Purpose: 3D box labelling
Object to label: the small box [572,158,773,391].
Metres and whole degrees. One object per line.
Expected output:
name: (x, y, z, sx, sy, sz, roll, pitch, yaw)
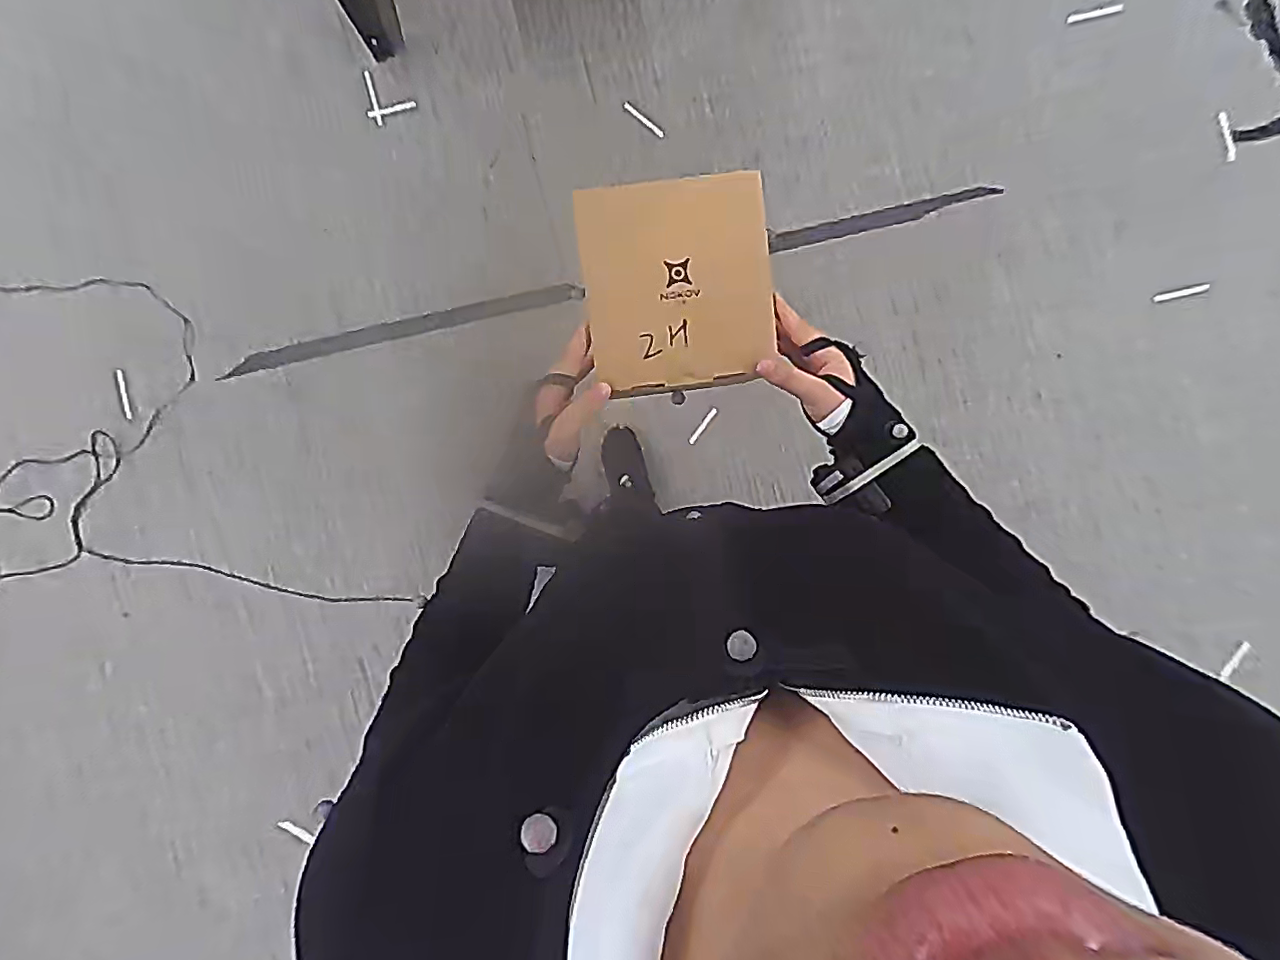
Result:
small box: (0.028, -0.191, 0.552, 0.168, 0.176, 0.179, -7, 96, 1)
